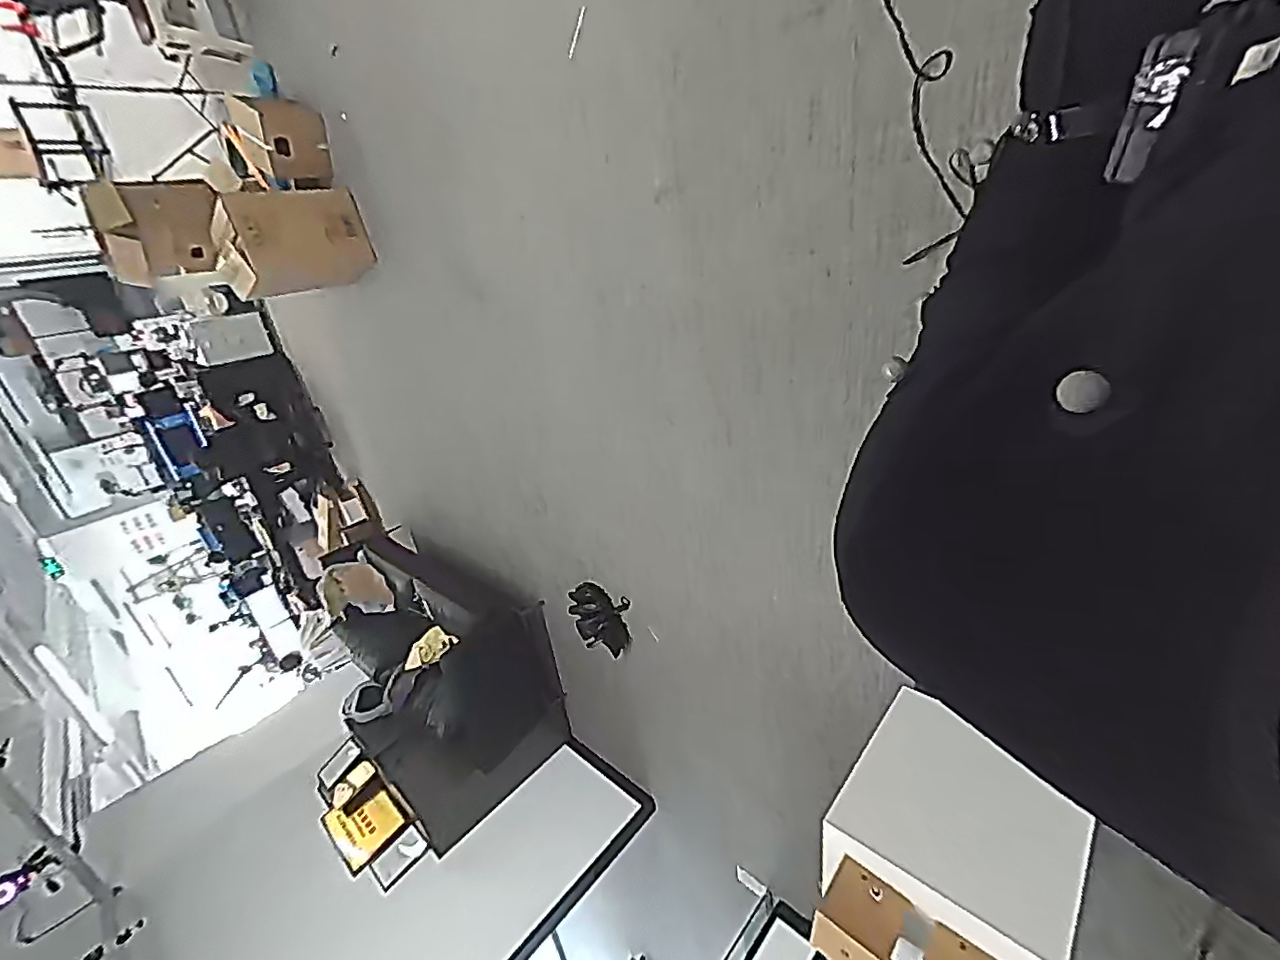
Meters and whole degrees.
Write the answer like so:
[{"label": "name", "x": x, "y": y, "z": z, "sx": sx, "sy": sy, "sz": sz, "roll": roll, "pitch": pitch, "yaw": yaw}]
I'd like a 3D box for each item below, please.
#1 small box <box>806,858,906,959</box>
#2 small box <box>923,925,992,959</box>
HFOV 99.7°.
[{"label": "small box", "x": 0.521, "y": 1.076, "z": 1.304, "sx": 0.168, "sy": 0.176, "sz": 0.179, "roll": 20, "pitch": 125, "yaw": 38}, {"label": "small box", "x": 0.697, "y": 1.130, "z": 1.168, "sx": 0.168, "sy": 0.176, "sz": 0.179, "roll": 15, "pitch": 124, "yaw": 43}]
